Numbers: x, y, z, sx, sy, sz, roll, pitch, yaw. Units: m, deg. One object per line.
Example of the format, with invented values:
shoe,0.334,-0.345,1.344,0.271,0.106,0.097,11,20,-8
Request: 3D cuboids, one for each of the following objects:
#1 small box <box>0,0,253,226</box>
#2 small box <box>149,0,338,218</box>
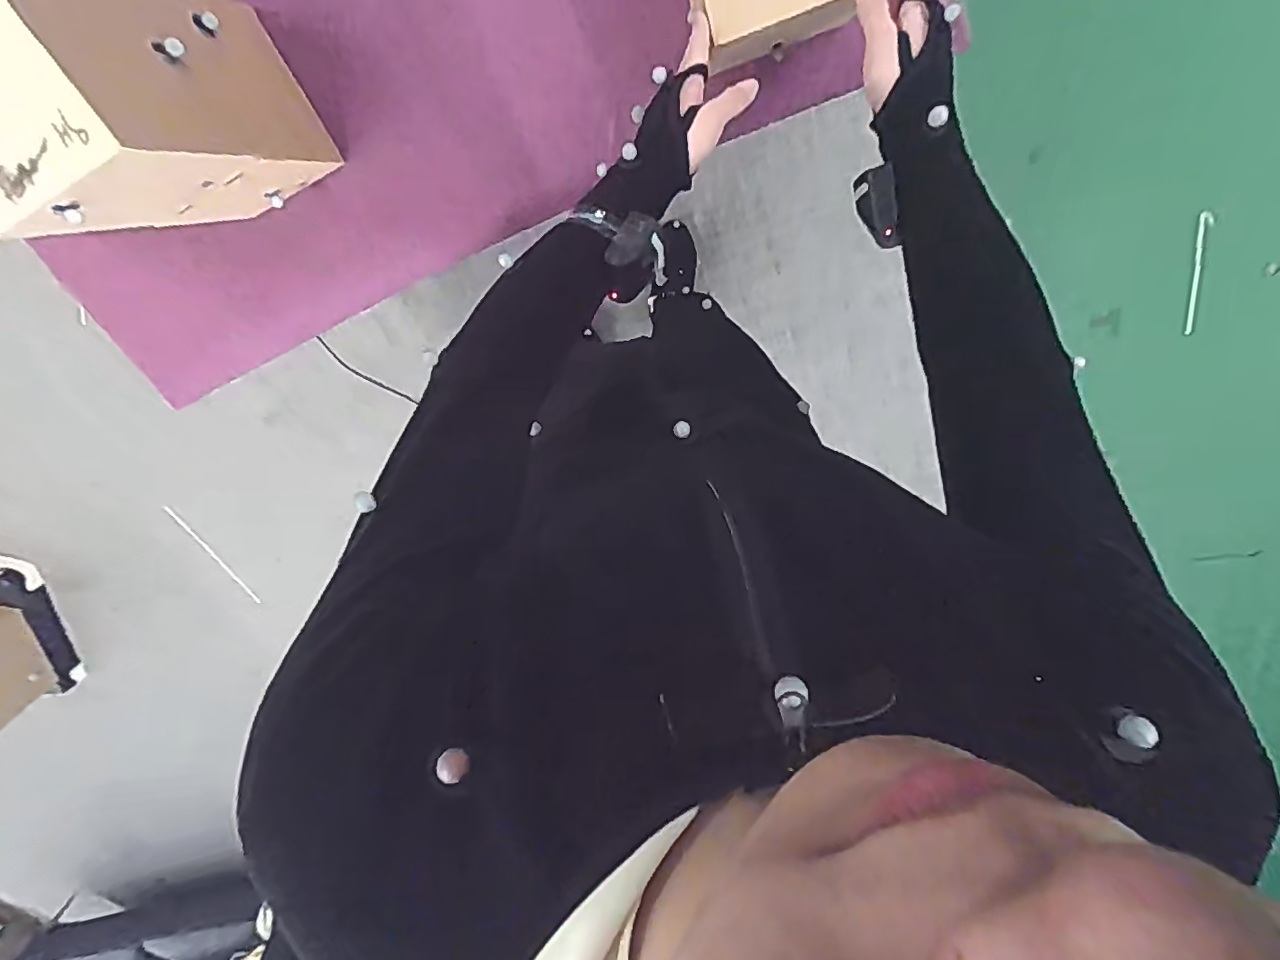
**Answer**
small box,-0.502,-0.342,0.468,0.168,0.176,0.179,-20,116,14
small box,-0.495,-0.421,0.612,0.168,0.176,0.179,-19,117,13
